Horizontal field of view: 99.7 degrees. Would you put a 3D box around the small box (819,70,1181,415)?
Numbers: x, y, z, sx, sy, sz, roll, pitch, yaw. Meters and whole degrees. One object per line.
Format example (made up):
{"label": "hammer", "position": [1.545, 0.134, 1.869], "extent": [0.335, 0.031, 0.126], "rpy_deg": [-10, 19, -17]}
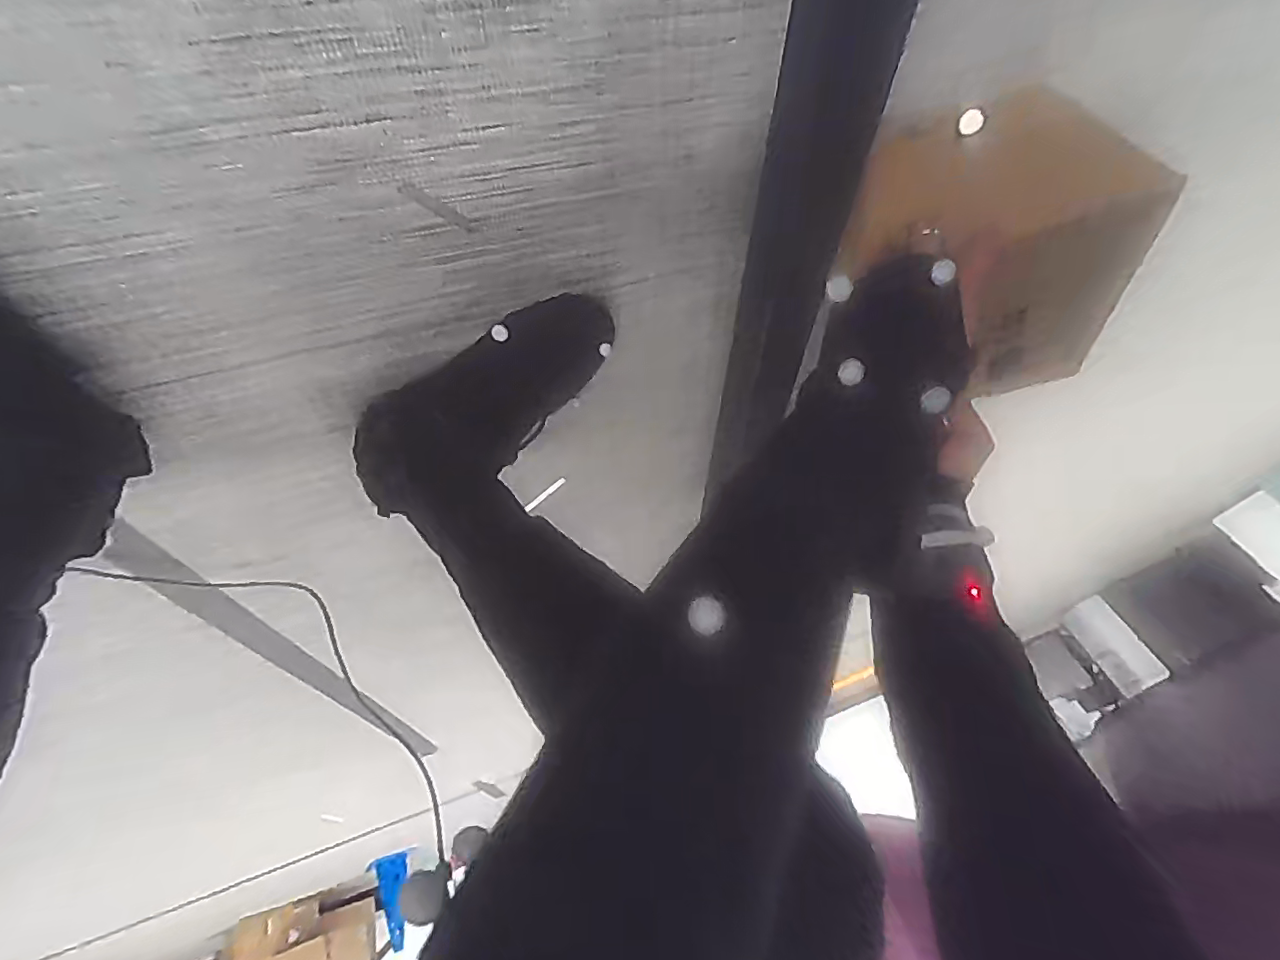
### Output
{"label": "small box", "position": [0.258, -0.188, 0.448], "extent": [0.168, 0.176, 0.179], "rpy_deg": [-16, 145, 6]}
